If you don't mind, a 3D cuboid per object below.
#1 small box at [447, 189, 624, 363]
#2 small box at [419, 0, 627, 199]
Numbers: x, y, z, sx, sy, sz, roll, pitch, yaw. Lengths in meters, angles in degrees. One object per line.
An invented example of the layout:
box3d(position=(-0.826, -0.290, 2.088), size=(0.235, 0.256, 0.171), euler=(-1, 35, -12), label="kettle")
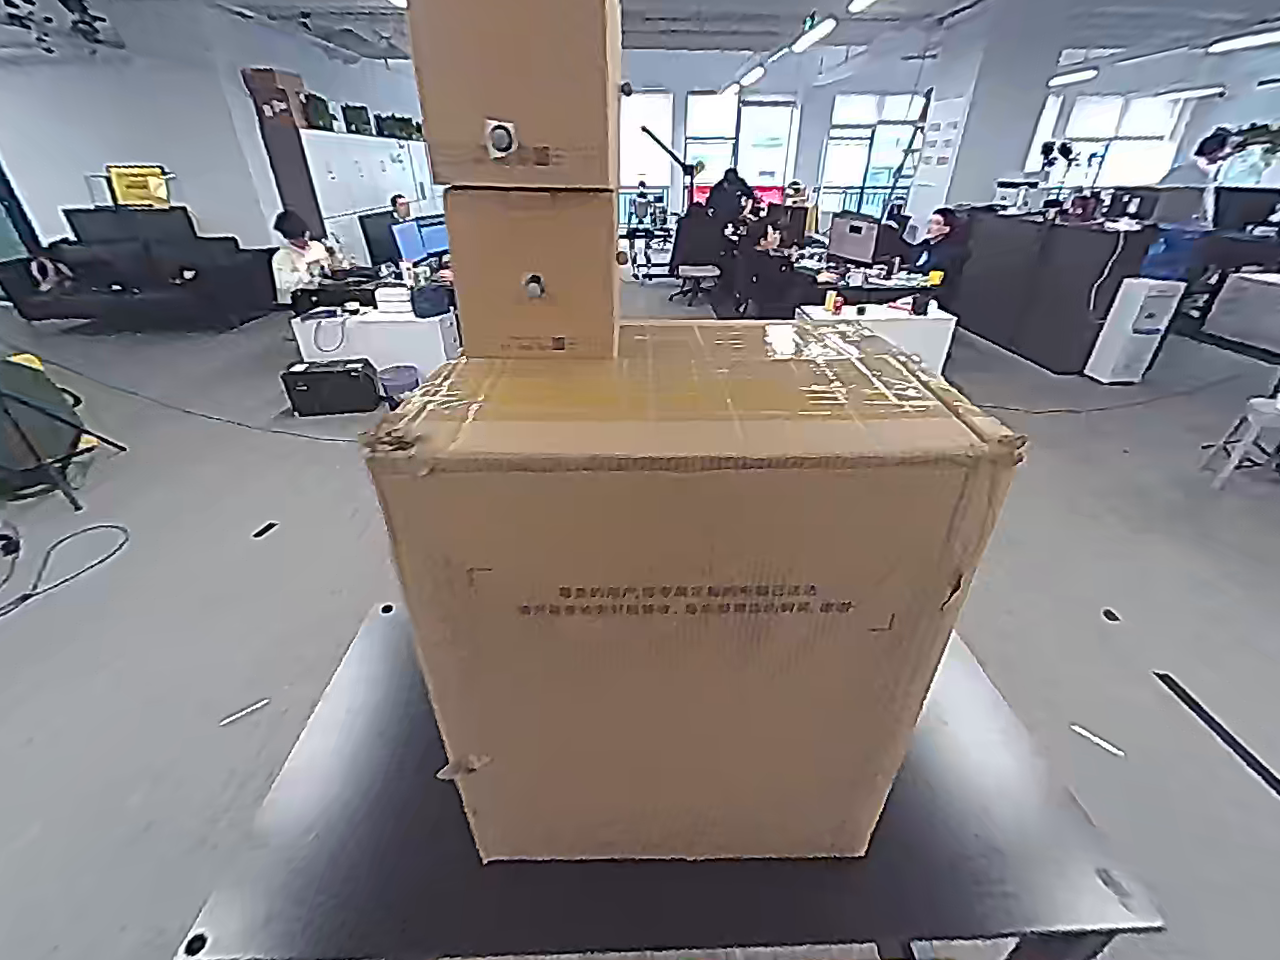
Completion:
box3d(position=(-0.103, -0.239, 0.619), size=(0.168, 0.176, 0.179), euler=(0, 30, -1), label="small box")
box3d(position=(-0.098, -0.373, 0.524), size=(0.168, 0.176, 0.179), euler=(0, 30, 1), label="small box")
